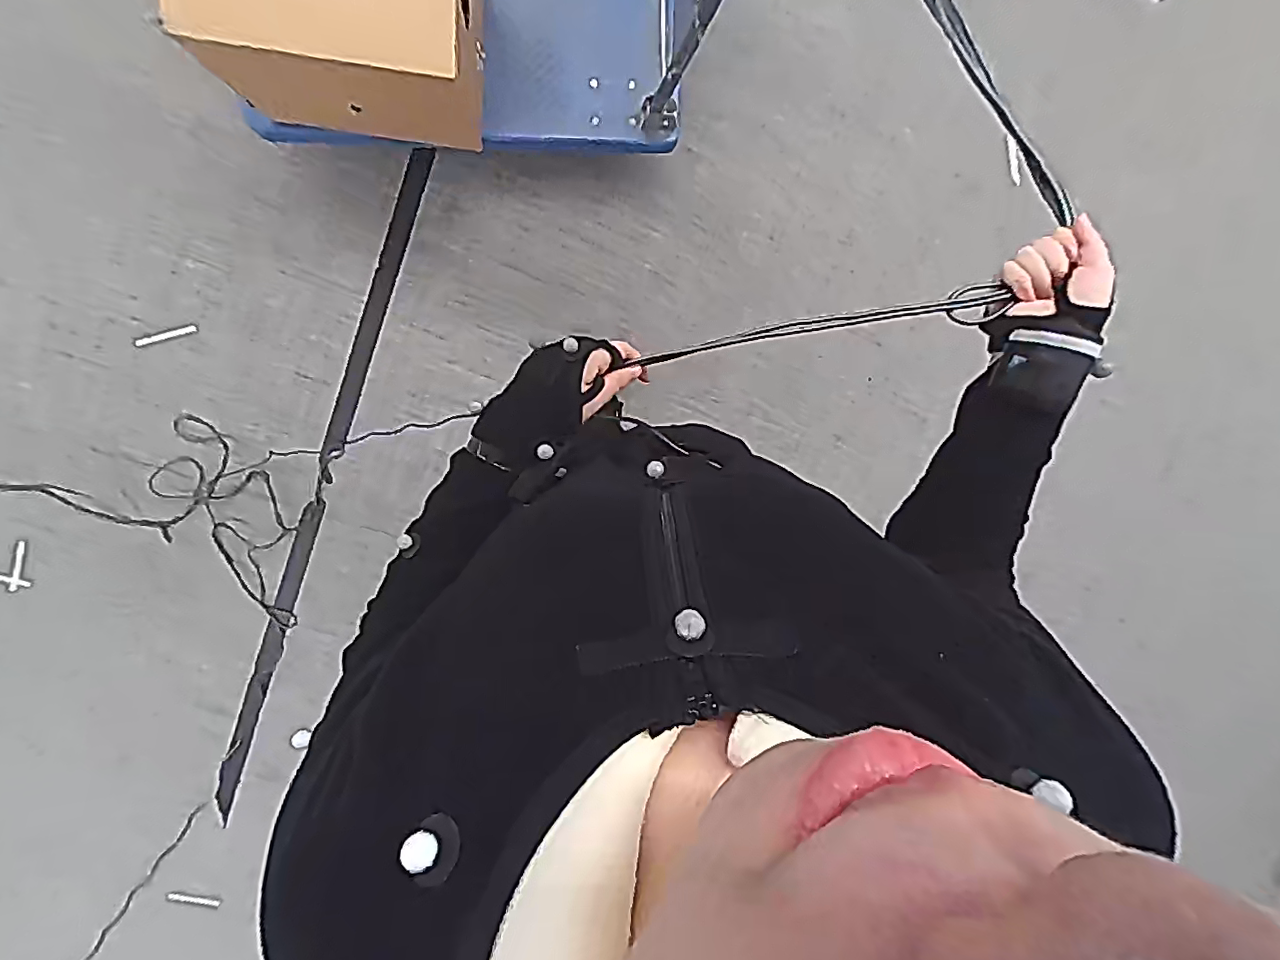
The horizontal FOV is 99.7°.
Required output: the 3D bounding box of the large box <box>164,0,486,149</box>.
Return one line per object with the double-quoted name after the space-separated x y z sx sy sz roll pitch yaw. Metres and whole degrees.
-0.485 -0.796 0.910 0.408 0.320 0.320 2 102 -9 "large box"
